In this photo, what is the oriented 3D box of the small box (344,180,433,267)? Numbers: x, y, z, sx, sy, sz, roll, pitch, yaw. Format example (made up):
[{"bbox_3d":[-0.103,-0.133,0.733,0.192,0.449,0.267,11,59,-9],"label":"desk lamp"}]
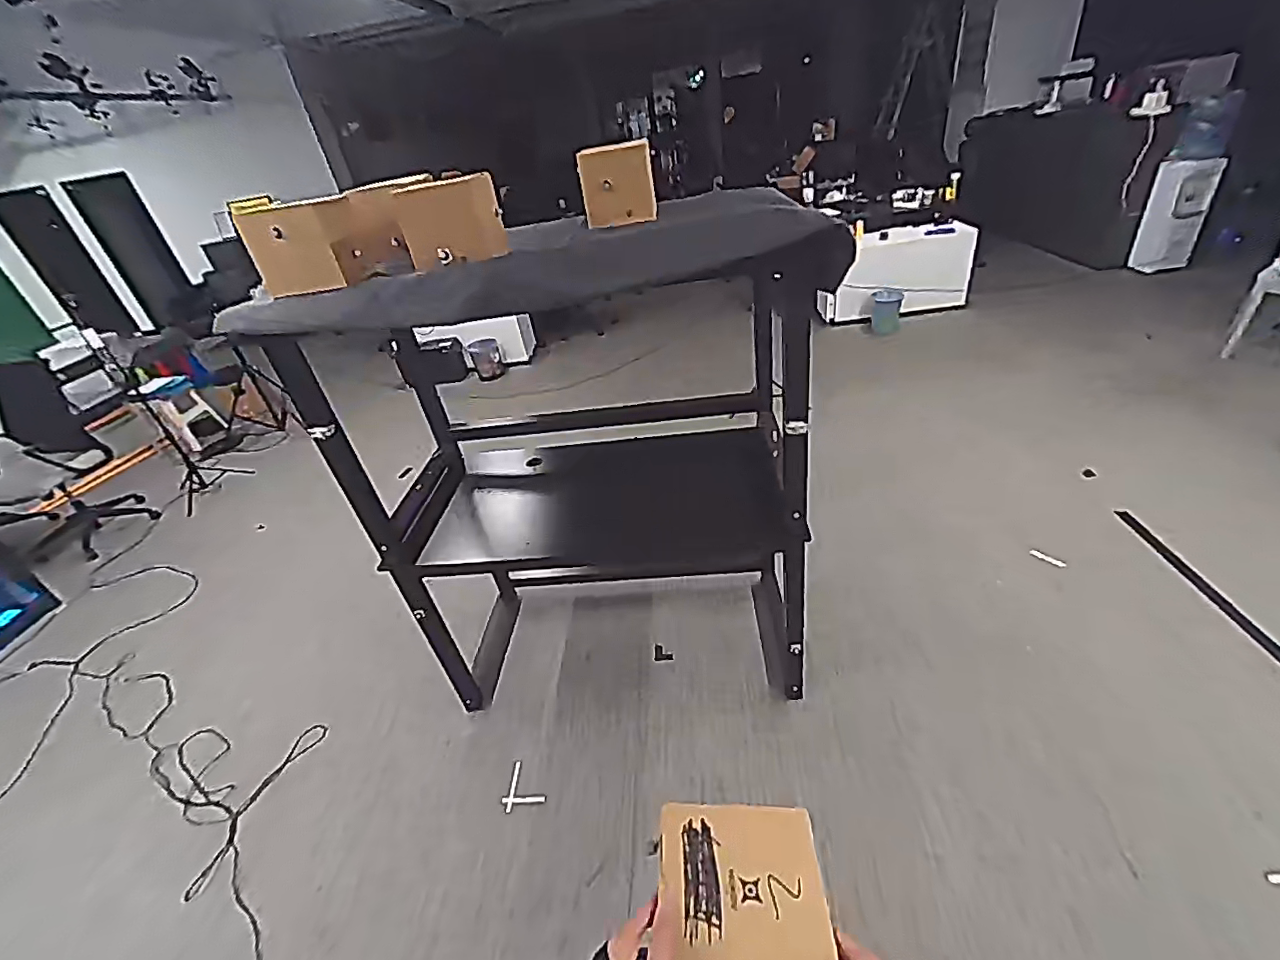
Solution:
[{"bbox_3d":[-0.625,-0.672,1.416,0.179,0.176,0.168,-6,34,5],"label":"small box"}]

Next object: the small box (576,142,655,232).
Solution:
[{"bbox_3d":[-0.054,-0.733,1.357,0.168,0.176,0.179,-6,34,6],"label":"small box"}]

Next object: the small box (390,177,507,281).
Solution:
[{"bbox_3d":[-0.394,-0.534,1.151,0.168,0.176,0.179,-8,32,4],"label":"small box"}]

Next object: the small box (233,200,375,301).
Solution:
[{"bbox_3d":[-0.723,-0.503,1.187,0.179,0.176,0.168,-7,33,3],"label":"small box"}]
